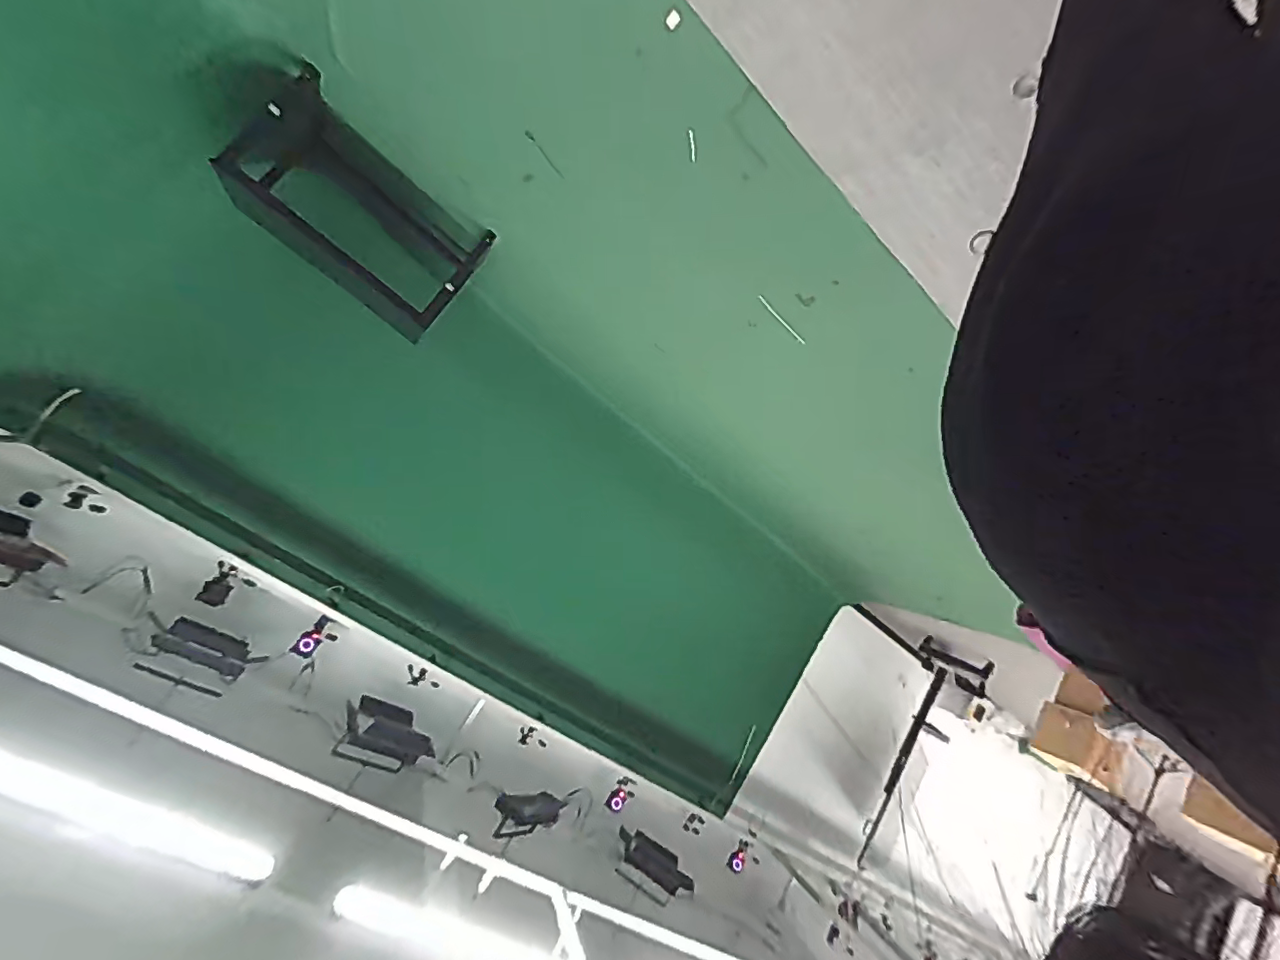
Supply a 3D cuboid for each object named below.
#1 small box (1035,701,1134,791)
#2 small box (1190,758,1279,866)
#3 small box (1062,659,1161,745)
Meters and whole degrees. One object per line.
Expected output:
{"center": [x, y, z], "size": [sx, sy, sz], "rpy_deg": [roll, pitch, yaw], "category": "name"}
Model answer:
{"center": [1.413, 0.835, 1.714], "size": [0.179, 0.176, 0.168], "rpy_deg": [36, 166, -17], "category": "small box"}
{"center": [1.548, 0.836, 1.351], "size": [0.168, 0.176, 0.179], "rpy_deg": [37, 167, -17], "category": "small box"}
{"center": [1.515, 0.707, 1.736], "size": [0.179, 0.176, 0.168], "rpy_deg": [36, 167, -17], "category": "small box"}
